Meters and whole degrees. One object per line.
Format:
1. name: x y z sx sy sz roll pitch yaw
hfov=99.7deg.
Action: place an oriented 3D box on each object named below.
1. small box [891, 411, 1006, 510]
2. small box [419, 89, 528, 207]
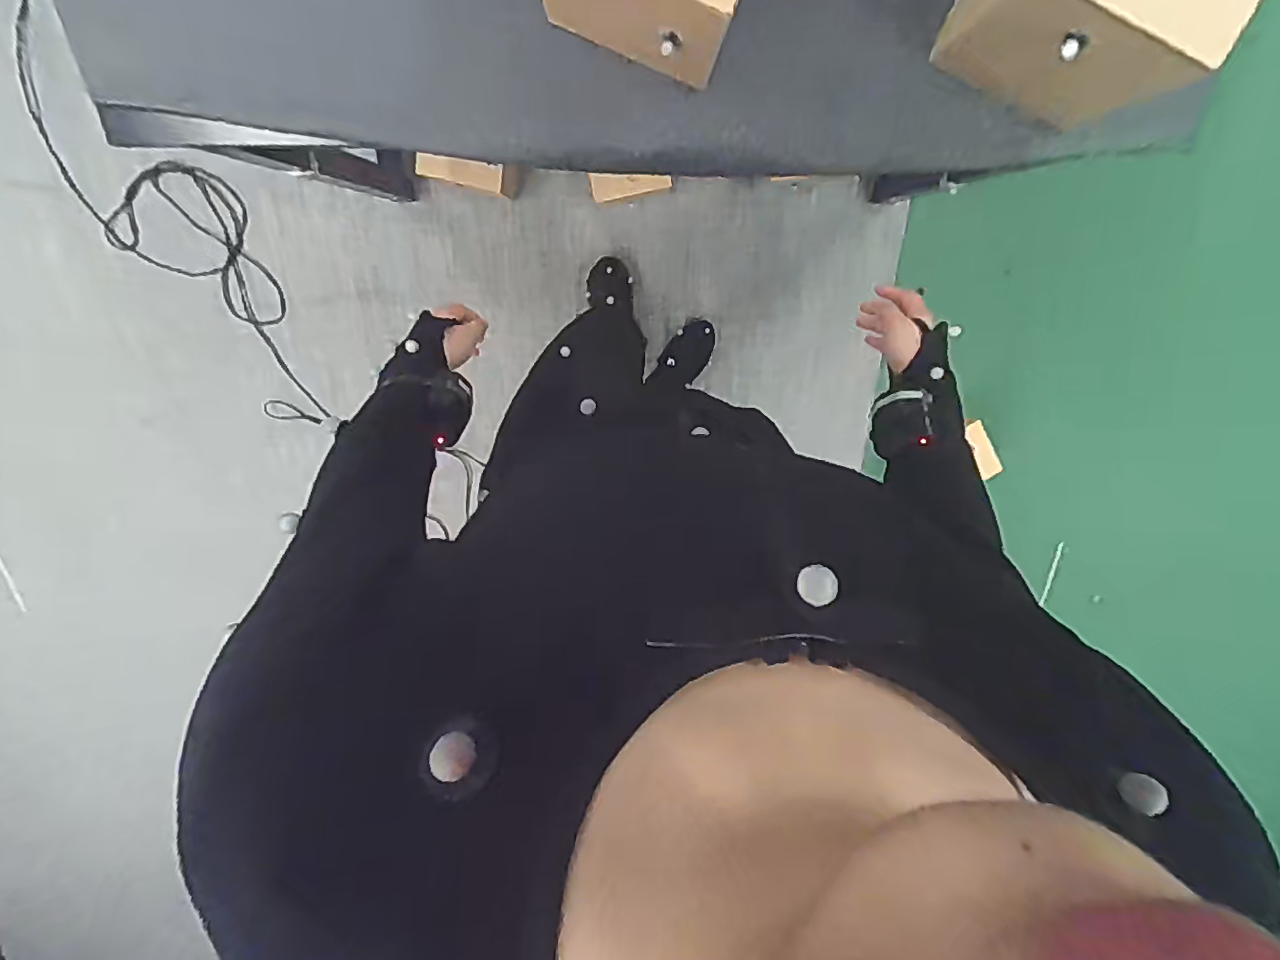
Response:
1. small box: 0.806 -0.057 1.426 0.179 0.176 0.168 -33 108 12
2. small box: -0.352 -0.699 1.160 0.179 0.176 0.168 12 111 -4
